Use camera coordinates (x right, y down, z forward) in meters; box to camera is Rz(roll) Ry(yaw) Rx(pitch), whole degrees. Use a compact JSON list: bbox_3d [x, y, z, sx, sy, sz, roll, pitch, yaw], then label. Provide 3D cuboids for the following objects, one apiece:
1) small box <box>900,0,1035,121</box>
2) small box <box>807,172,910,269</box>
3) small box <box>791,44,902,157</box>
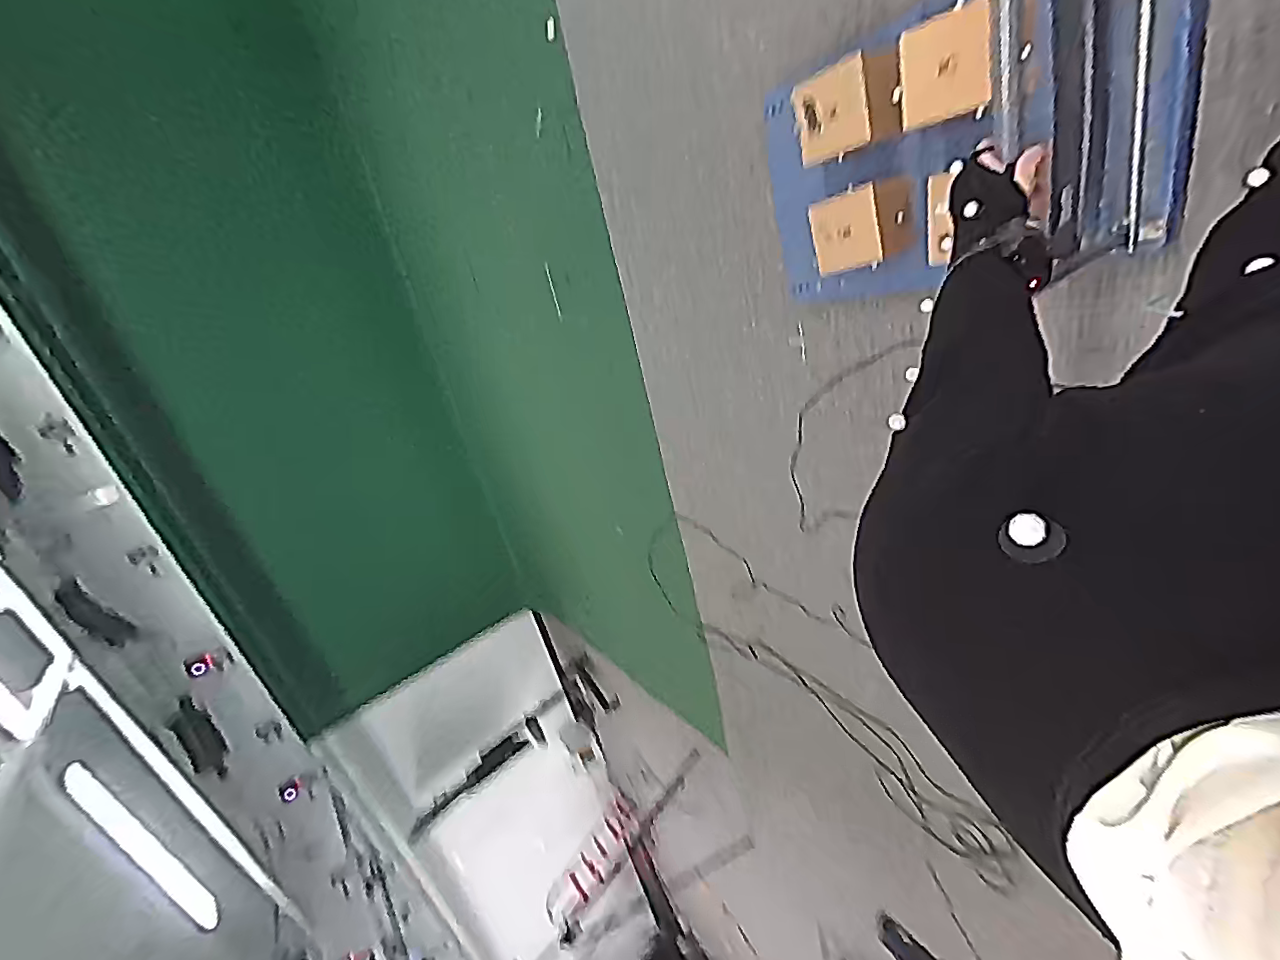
[{"bbox_3d":[0.640,-0.831,1.064,0.179,0.176,0.168,16,128,50],"label":"small box"},{"bbox_3d":[0.550,-0.646,1.346,0.179,0.176,0.168,8,121,53],"label":"small box"},{"bbox_3d":[0.483,-0.873,1.252,0.179,0.176,0.168,11,124,51],"label":"small box"}]
